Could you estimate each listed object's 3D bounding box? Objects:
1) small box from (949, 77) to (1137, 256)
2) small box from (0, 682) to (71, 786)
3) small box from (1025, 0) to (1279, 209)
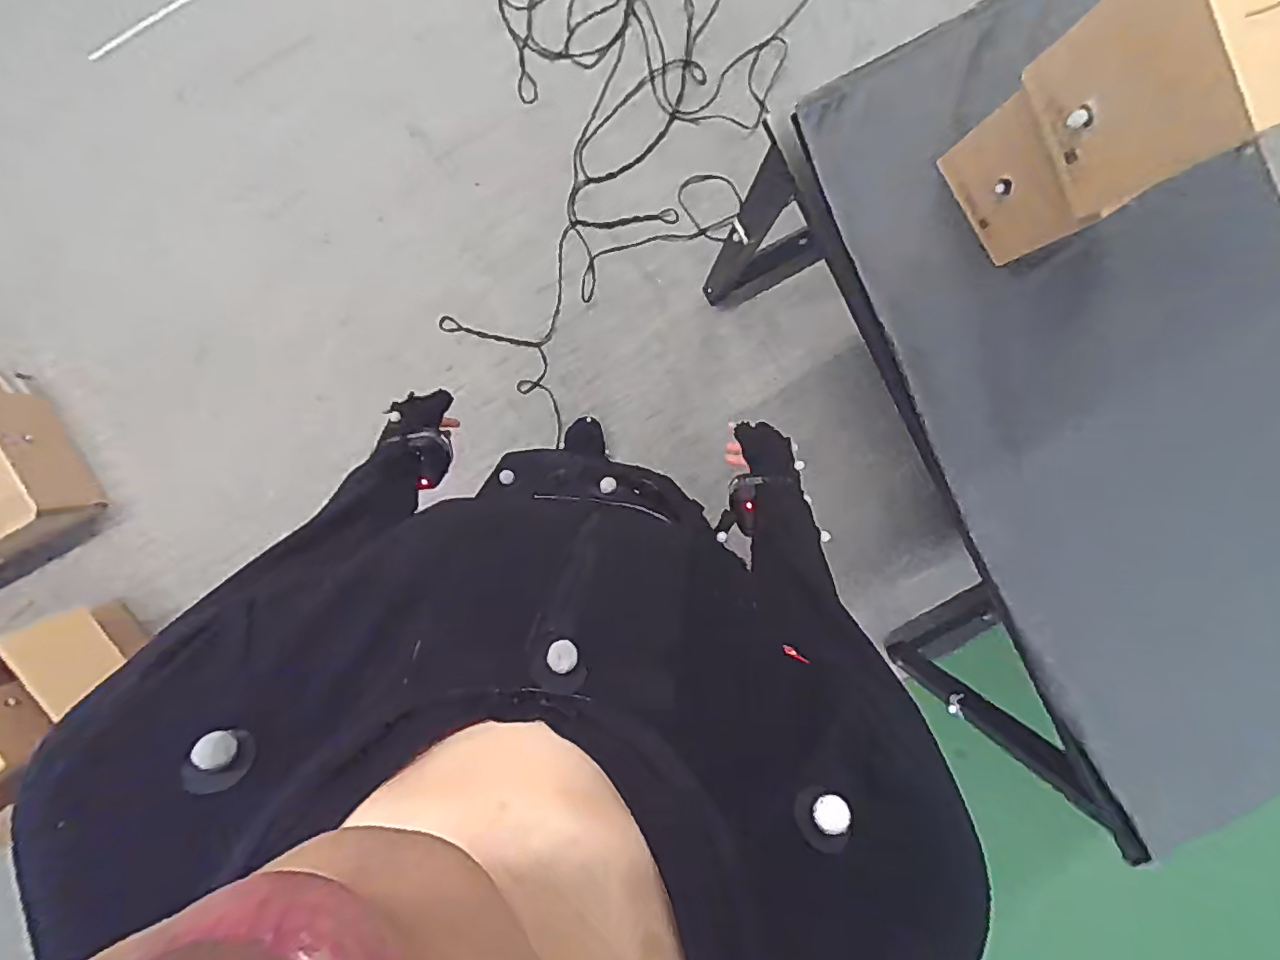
[{"bbox_3d":[0.516,-0.406,0.655,0.179,0.176,0.168,-34,96,0],"label":"small box"},{"bbox_3d":[-1.424,0.579,1.184,0.179,0.176,0.168,-37,93,-1],"label":"small box"},{"bbox_3d":[0.511,-0.387,0.491,0.179,0.176,0.168,-26,95,0],"label":"small box"}]
